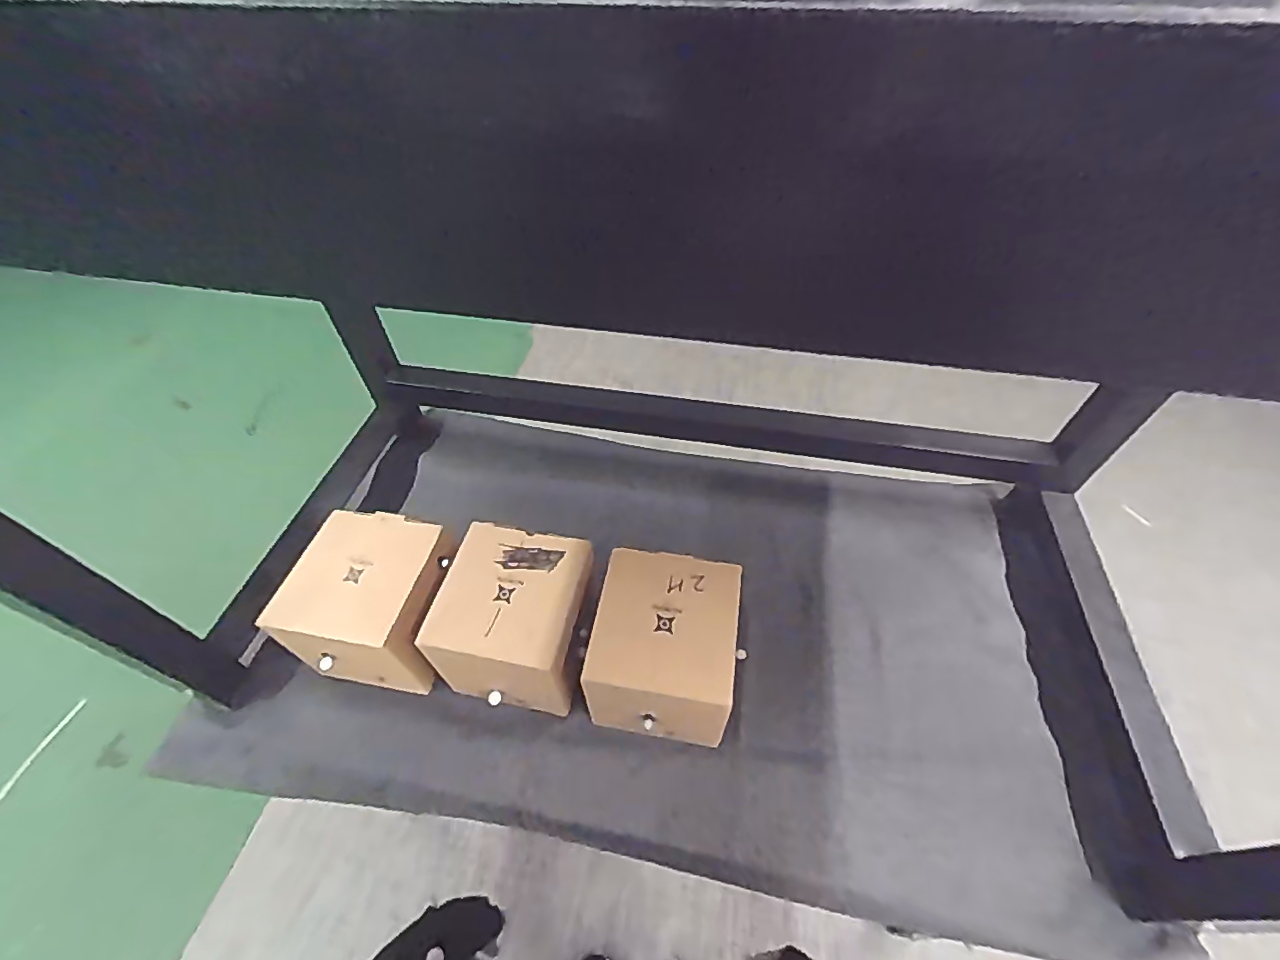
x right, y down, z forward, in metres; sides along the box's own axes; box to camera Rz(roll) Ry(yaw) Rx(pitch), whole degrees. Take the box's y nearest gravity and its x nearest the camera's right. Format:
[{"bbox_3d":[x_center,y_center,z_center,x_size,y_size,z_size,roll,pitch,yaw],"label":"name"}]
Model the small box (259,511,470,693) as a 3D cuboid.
[{"bbox_3d":[-0.352,0.169,0.736,0.168,0.176,0.179,8,50,7],"label":"small box"}]
